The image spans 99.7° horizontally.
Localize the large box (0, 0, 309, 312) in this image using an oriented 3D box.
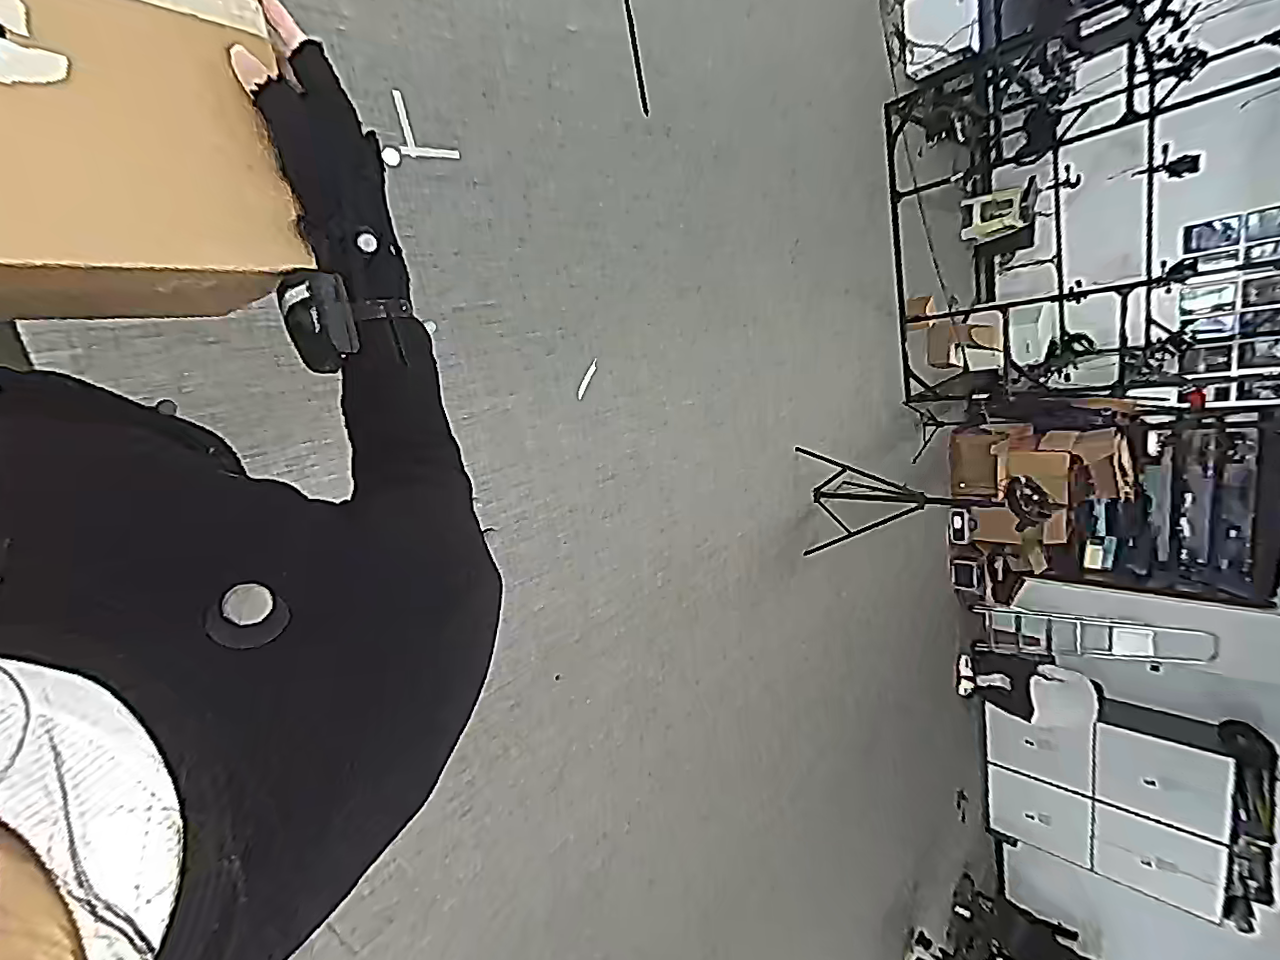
[{"bbox_3d":[-0.506,-0.275,0.330,0.408,0.320,0.320,-20,112,-45],"label":"large box"}]
